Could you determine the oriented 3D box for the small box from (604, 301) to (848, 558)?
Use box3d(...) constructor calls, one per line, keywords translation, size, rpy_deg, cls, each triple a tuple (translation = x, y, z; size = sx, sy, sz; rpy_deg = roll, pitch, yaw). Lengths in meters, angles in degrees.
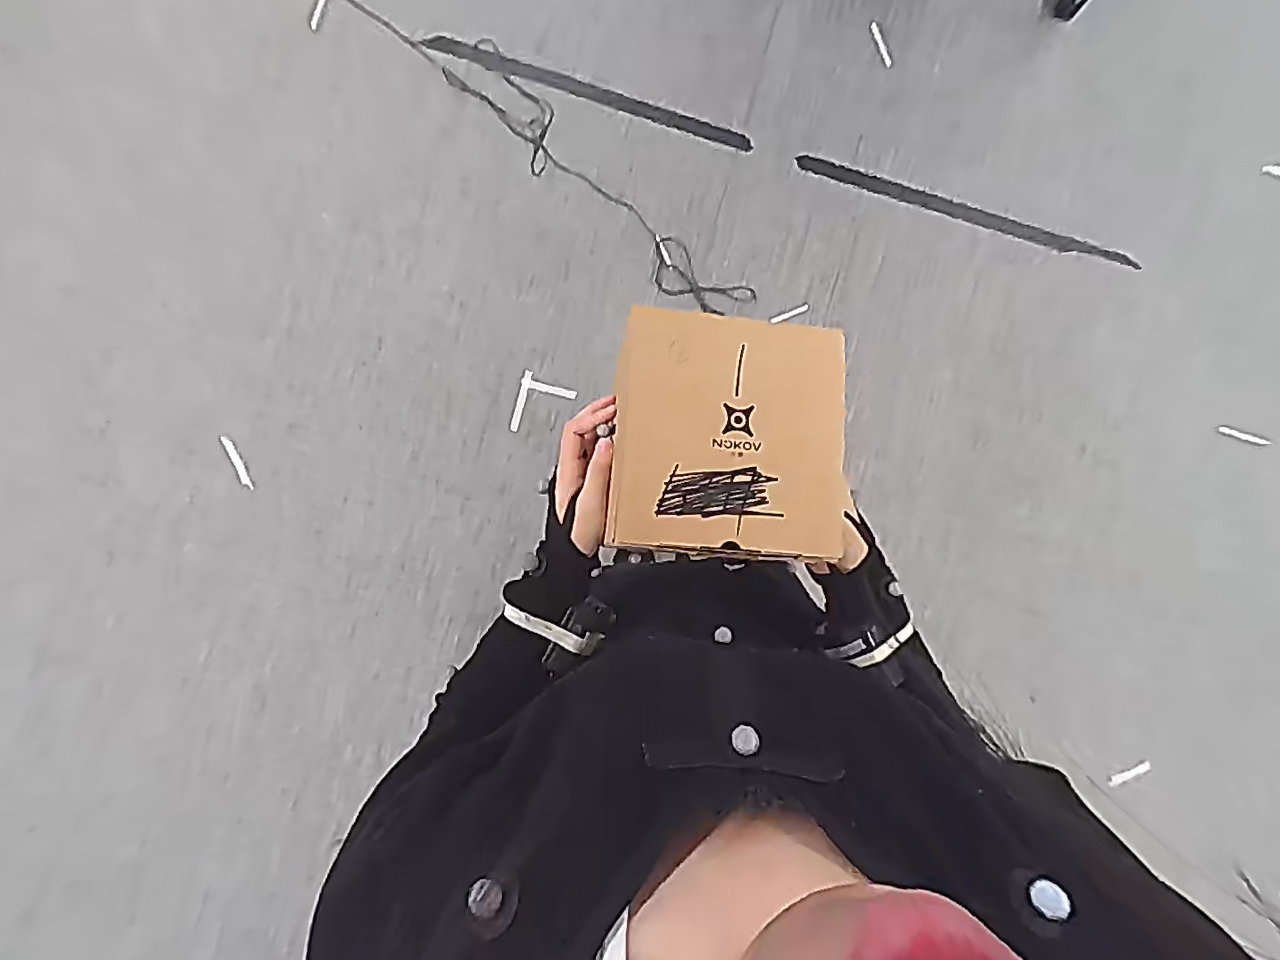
box3d(translation=(0.060, -0.026, 0.466), size=(0.168, 0.176, 0.179), rpy_deg=(5, 80, -7), cls="small box")
